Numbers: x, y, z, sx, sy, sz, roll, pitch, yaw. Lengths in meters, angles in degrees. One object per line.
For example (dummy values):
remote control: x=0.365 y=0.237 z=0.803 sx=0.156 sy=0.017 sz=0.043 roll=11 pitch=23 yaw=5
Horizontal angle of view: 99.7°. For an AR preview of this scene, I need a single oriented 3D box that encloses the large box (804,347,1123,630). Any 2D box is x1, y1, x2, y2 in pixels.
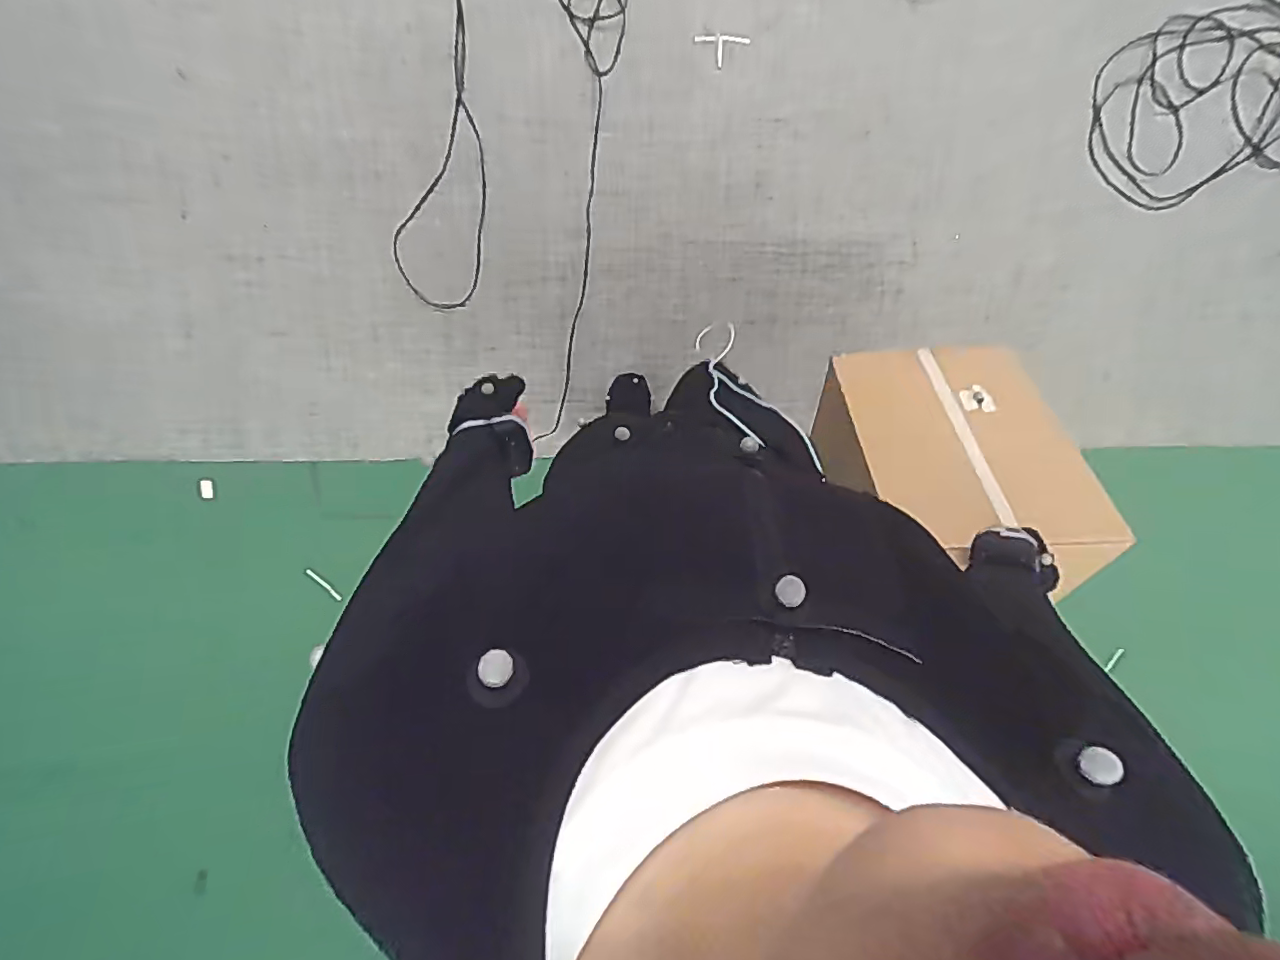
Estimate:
large box: x=0.509 y=0.018 z=0.970 sx=0.320 sy=0.408 sz=0.320 roll=-2 pitch=143 yaw=2
